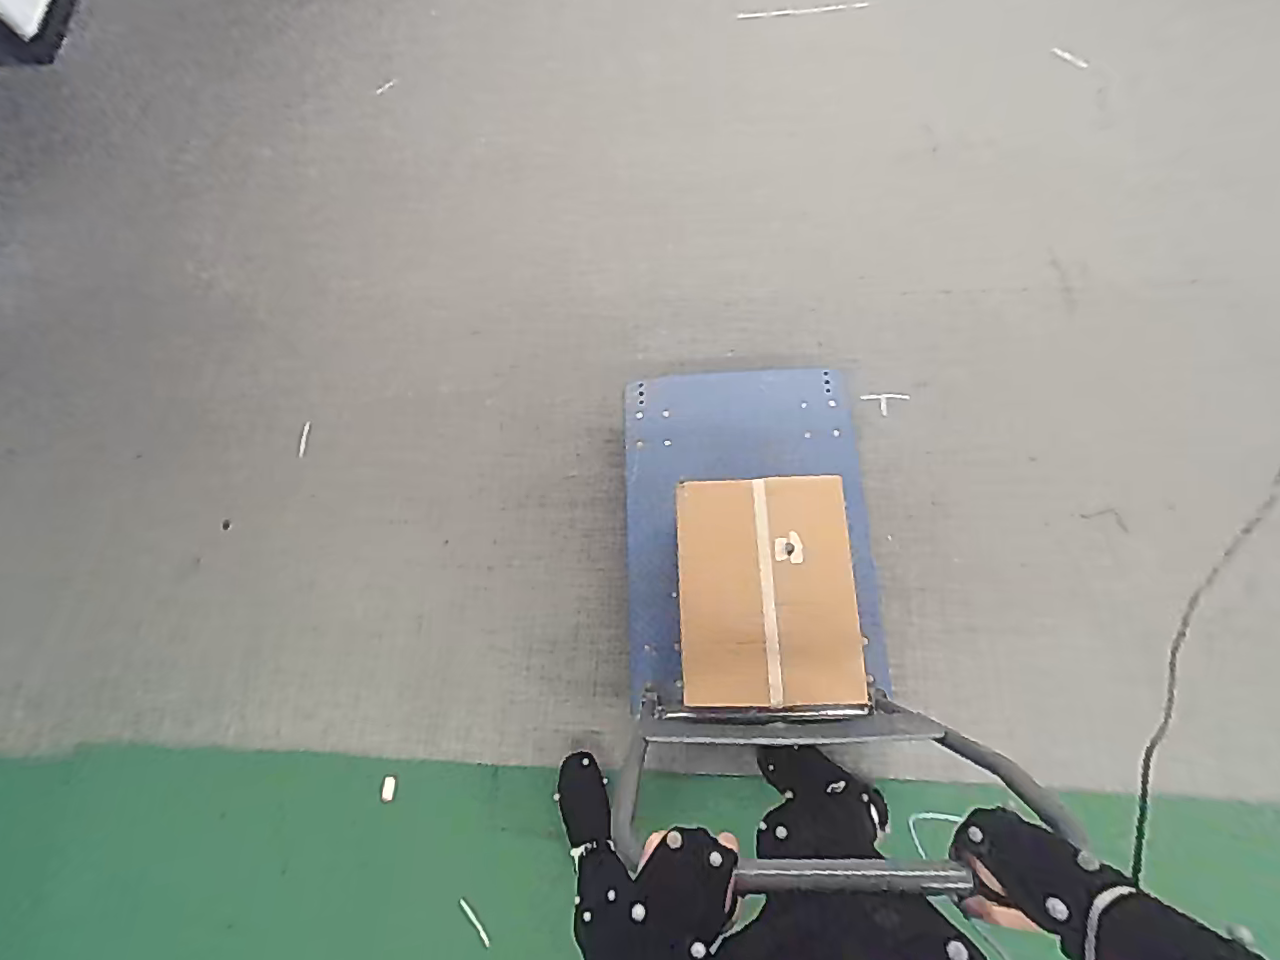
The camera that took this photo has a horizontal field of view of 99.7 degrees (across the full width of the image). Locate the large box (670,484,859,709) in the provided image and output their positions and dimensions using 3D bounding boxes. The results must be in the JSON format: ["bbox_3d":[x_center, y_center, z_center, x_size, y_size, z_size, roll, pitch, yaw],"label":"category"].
[{"bbox_3d":[0.233,0.248,1.138,0.320,0.320,0.408,-2,73,4],"label":"large box"}]
